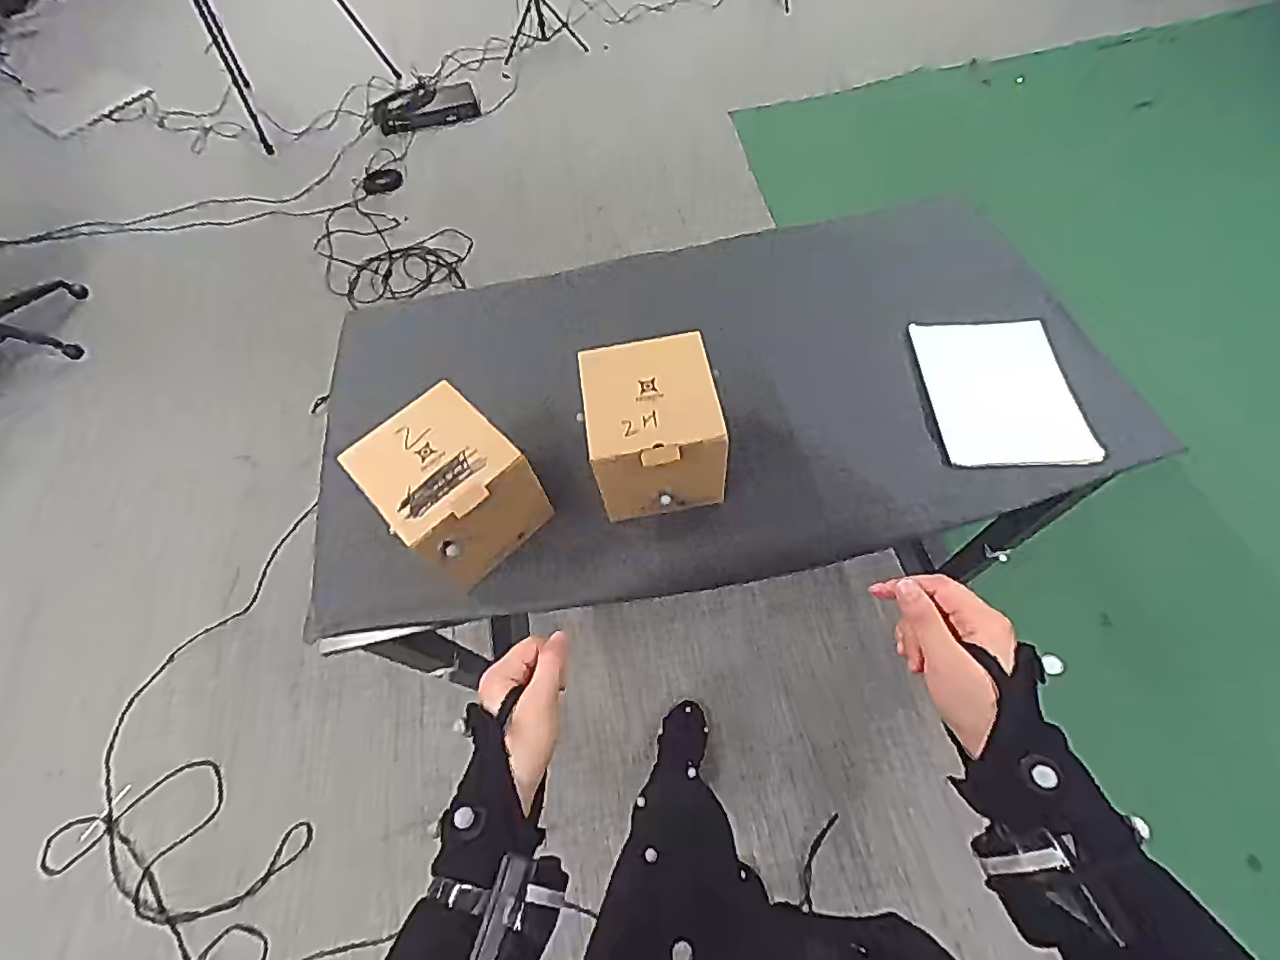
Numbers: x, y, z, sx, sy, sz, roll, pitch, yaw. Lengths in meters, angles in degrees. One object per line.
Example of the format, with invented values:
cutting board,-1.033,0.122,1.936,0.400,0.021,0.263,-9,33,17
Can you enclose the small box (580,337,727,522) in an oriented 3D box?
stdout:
small box,0.019,-0.064,0.745,0.168,0.176,0.179,-11,60,2
